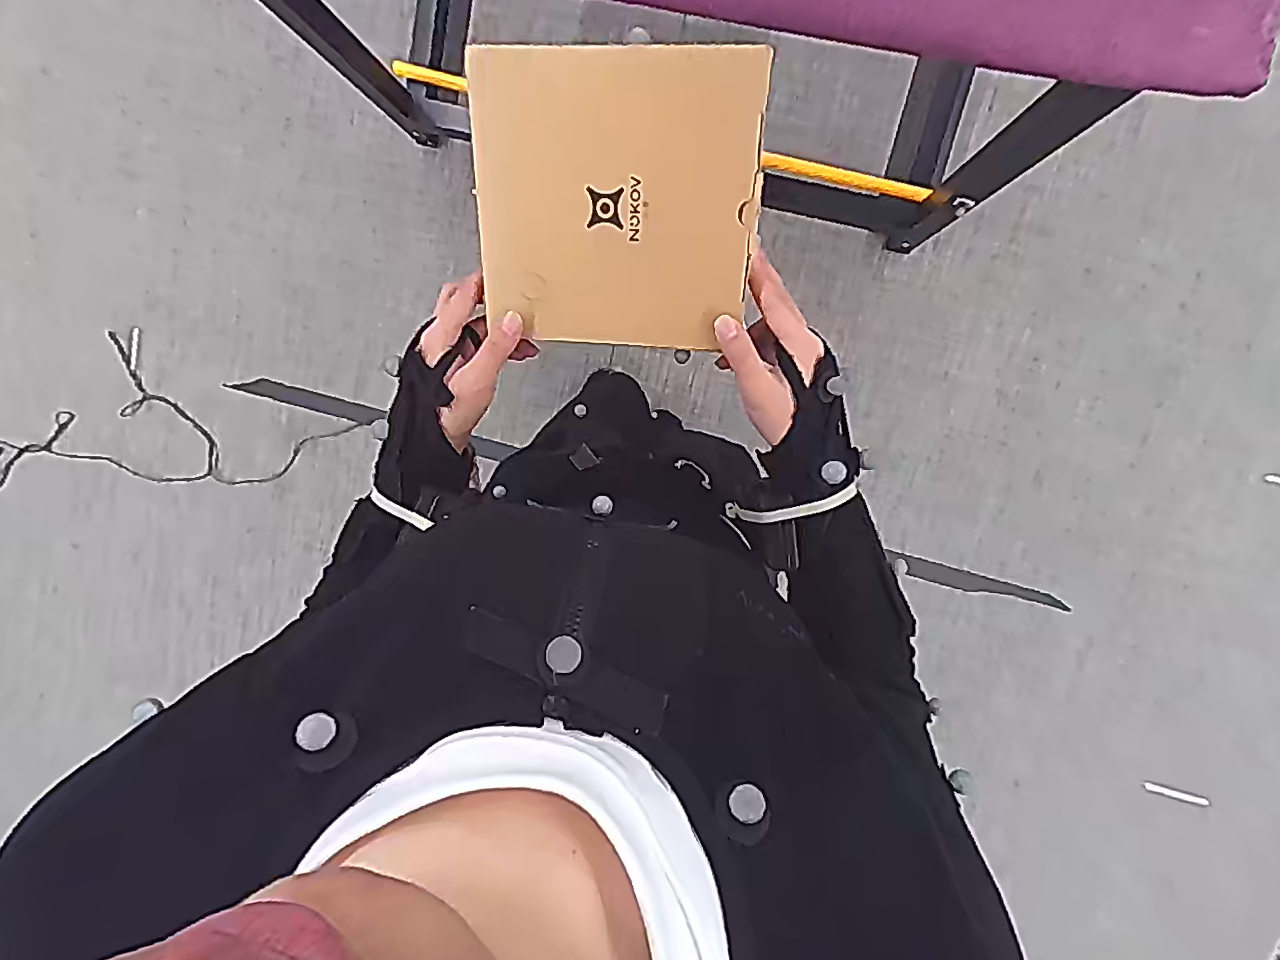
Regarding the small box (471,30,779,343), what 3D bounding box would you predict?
[{"bbox_3d":[-0.004,-0.202,0.402,0.179,0.176,0.168,5,113,5],"label":"small box"}]
